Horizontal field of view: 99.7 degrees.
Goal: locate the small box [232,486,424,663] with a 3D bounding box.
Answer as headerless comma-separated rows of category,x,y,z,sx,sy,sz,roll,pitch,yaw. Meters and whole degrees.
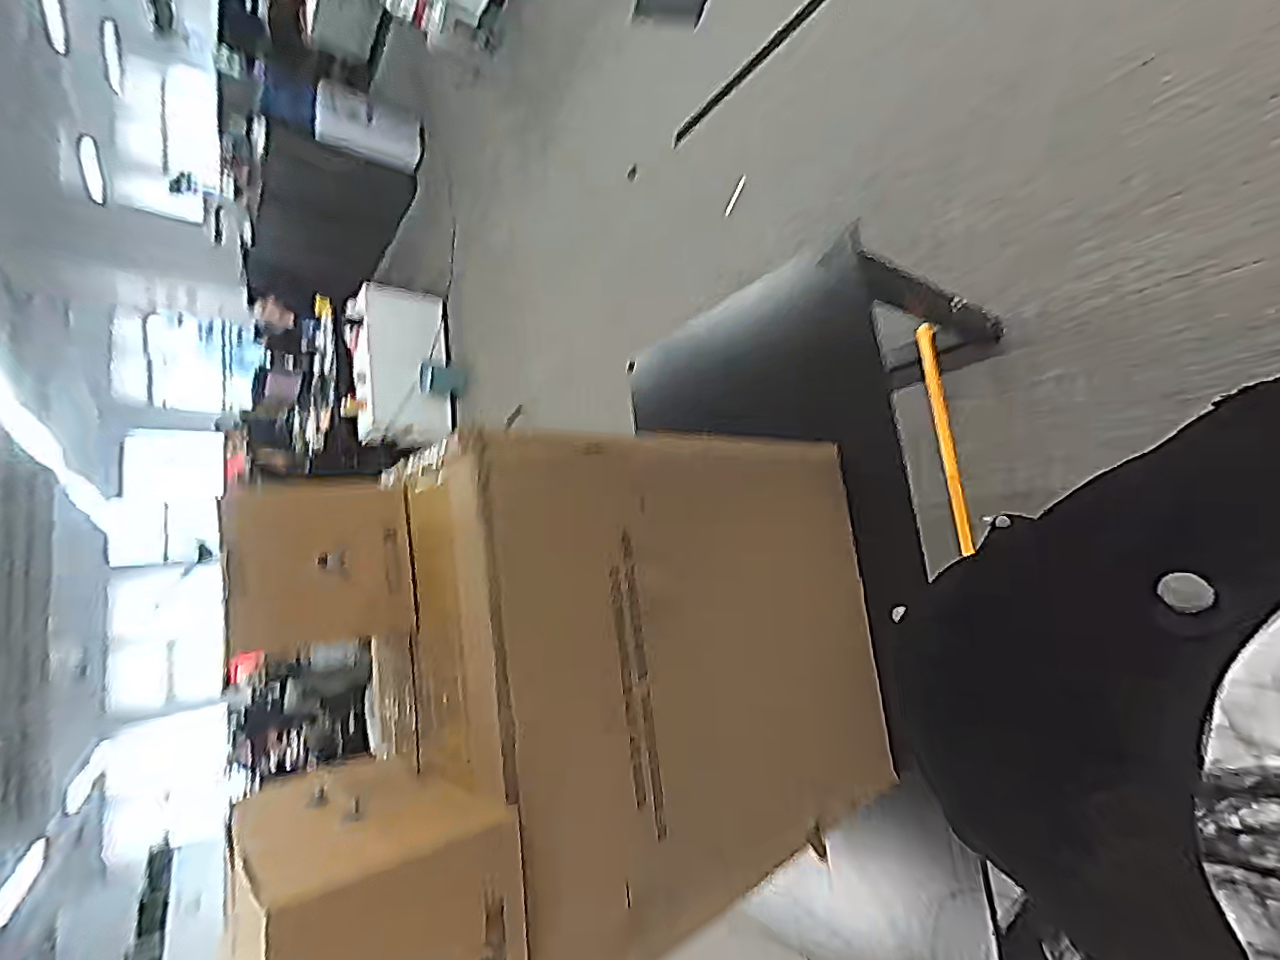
small box,-0.357,0.105,0.623,0.179,0.176,0.168,-22,75,50
